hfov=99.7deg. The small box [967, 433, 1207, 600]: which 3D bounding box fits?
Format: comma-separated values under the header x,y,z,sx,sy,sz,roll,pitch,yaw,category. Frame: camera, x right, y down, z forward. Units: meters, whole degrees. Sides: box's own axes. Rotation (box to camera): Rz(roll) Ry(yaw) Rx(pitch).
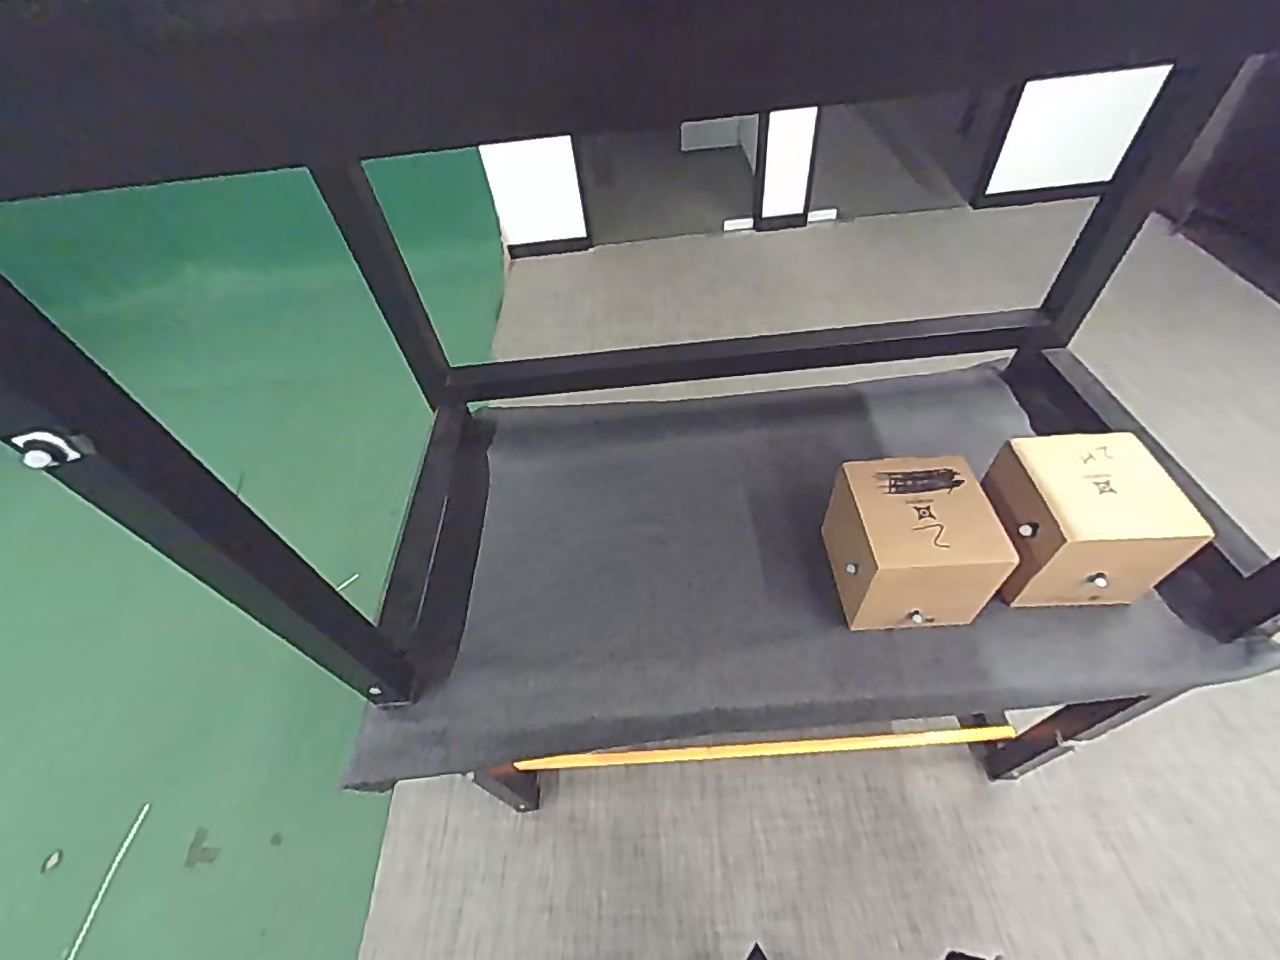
x,y,z,sx,sy,sz,roll,pitch,yaw,category
0.597,0.057,0.755,0.168,0.176,0.179,-2,49,5,small box
